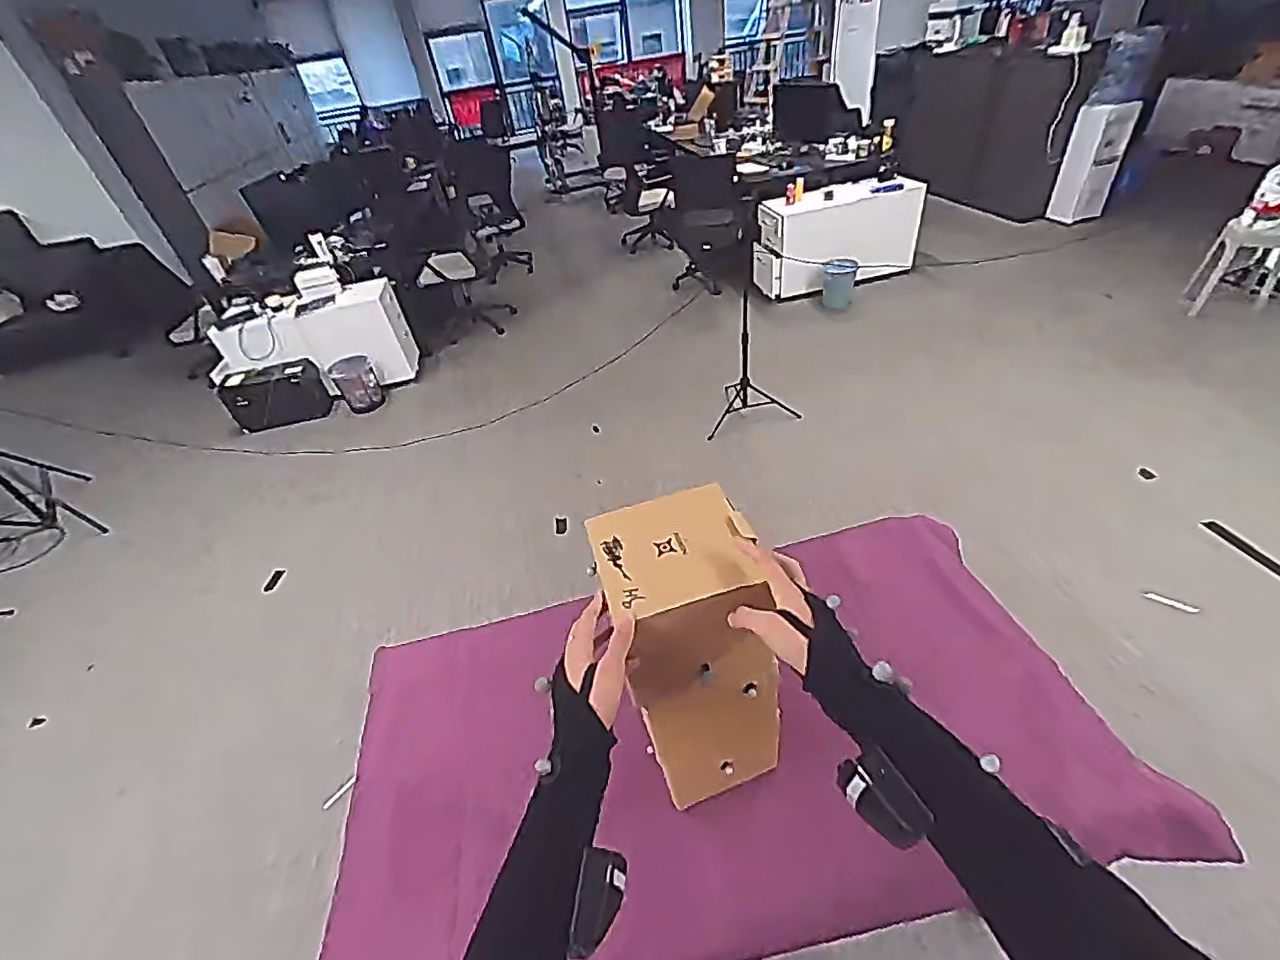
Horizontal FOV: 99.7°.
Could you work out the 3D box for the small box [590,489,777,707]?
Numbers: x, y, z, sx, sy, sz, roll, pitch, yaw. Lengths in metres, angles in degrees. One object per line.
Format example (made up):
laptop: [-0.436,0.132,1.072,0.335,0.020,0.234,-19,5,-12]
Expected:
small box: [0.048,0.141,0.654,0.179,0.176,0.168,-14,39,-7]

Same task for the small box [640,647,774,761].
small box: [0.076,0.263,0.761,0.179,0.176,0.168,-15,40,-7]
